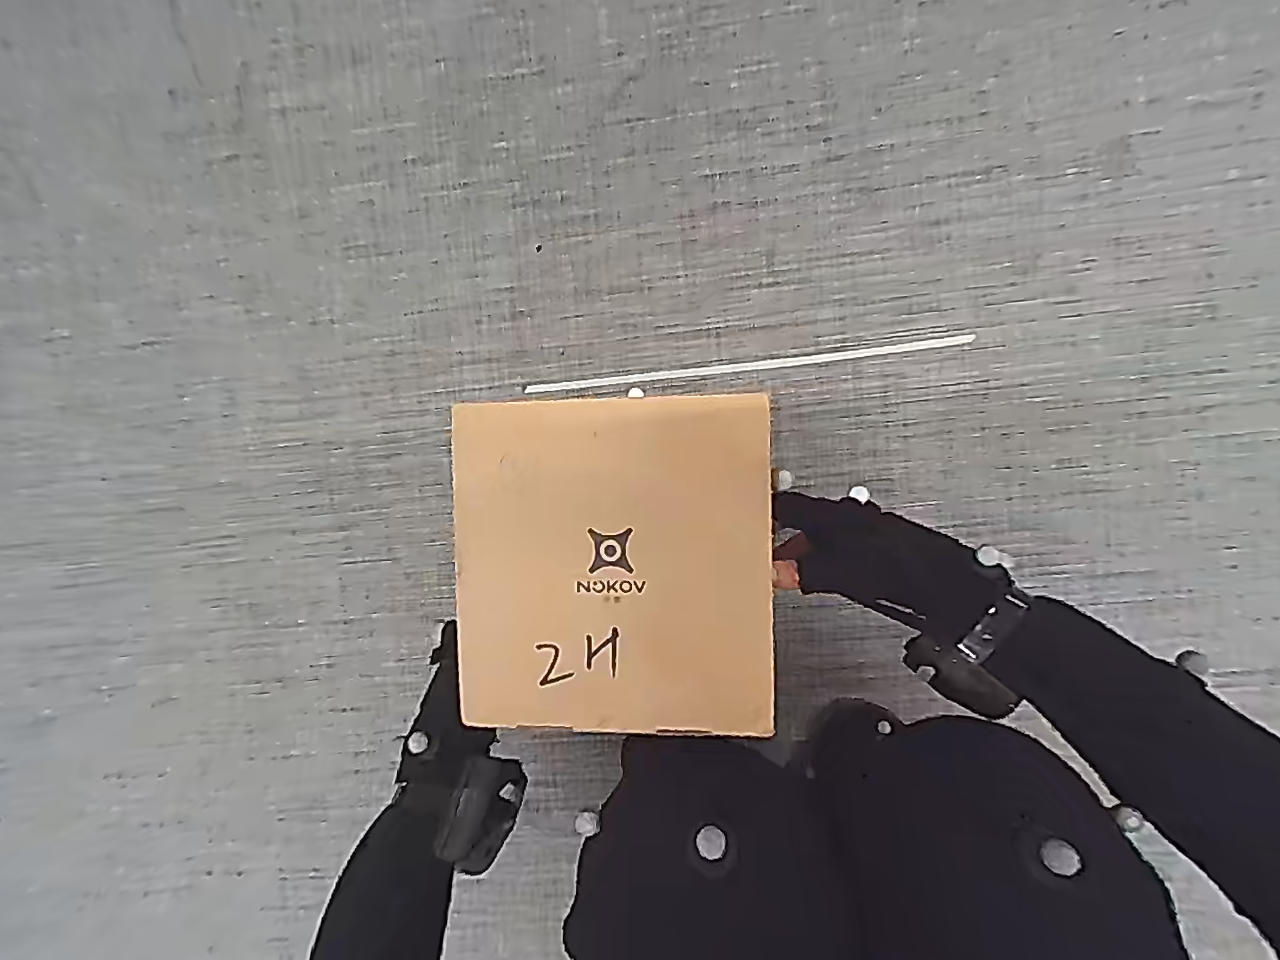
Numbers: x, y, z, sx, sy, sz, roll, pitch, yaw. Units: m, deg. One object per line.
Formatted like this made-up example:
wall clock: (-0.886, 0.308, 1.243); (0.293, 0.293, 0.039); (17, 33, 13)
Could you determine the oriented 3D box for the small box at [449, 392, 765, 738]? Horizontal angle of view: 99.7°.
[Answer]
small box: (-0.011, 0.042, 0.358); (0.168, 0.176, 0.179); (-1, 91, 6)
